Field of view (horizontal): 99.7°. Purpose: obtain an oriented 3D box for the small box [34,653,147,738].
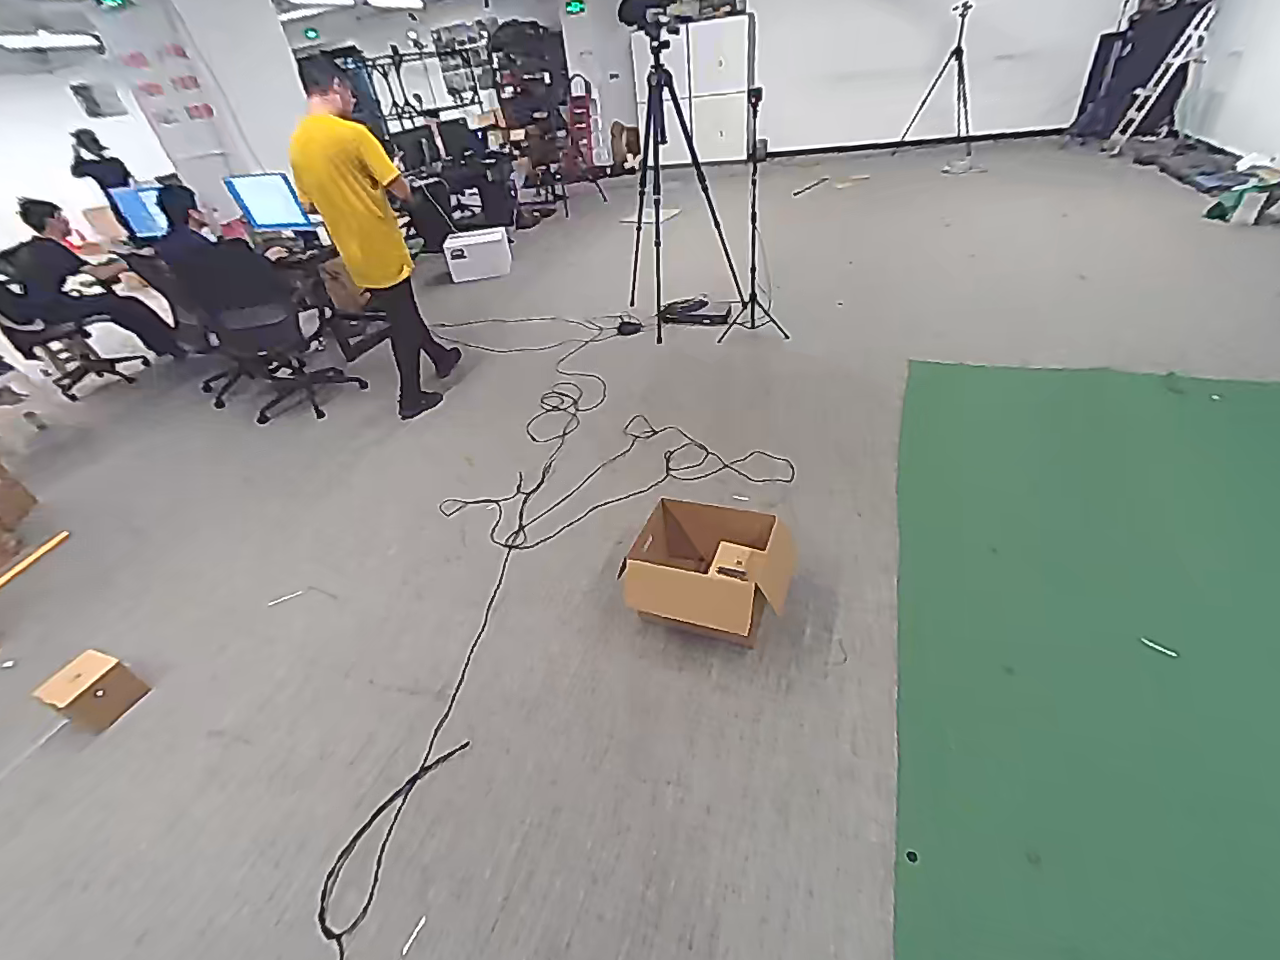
[{"bbox_3d":[-1.779,0.705,1.769,0.168,0.176,0.179,7,41,19],"label":"small box"}]
